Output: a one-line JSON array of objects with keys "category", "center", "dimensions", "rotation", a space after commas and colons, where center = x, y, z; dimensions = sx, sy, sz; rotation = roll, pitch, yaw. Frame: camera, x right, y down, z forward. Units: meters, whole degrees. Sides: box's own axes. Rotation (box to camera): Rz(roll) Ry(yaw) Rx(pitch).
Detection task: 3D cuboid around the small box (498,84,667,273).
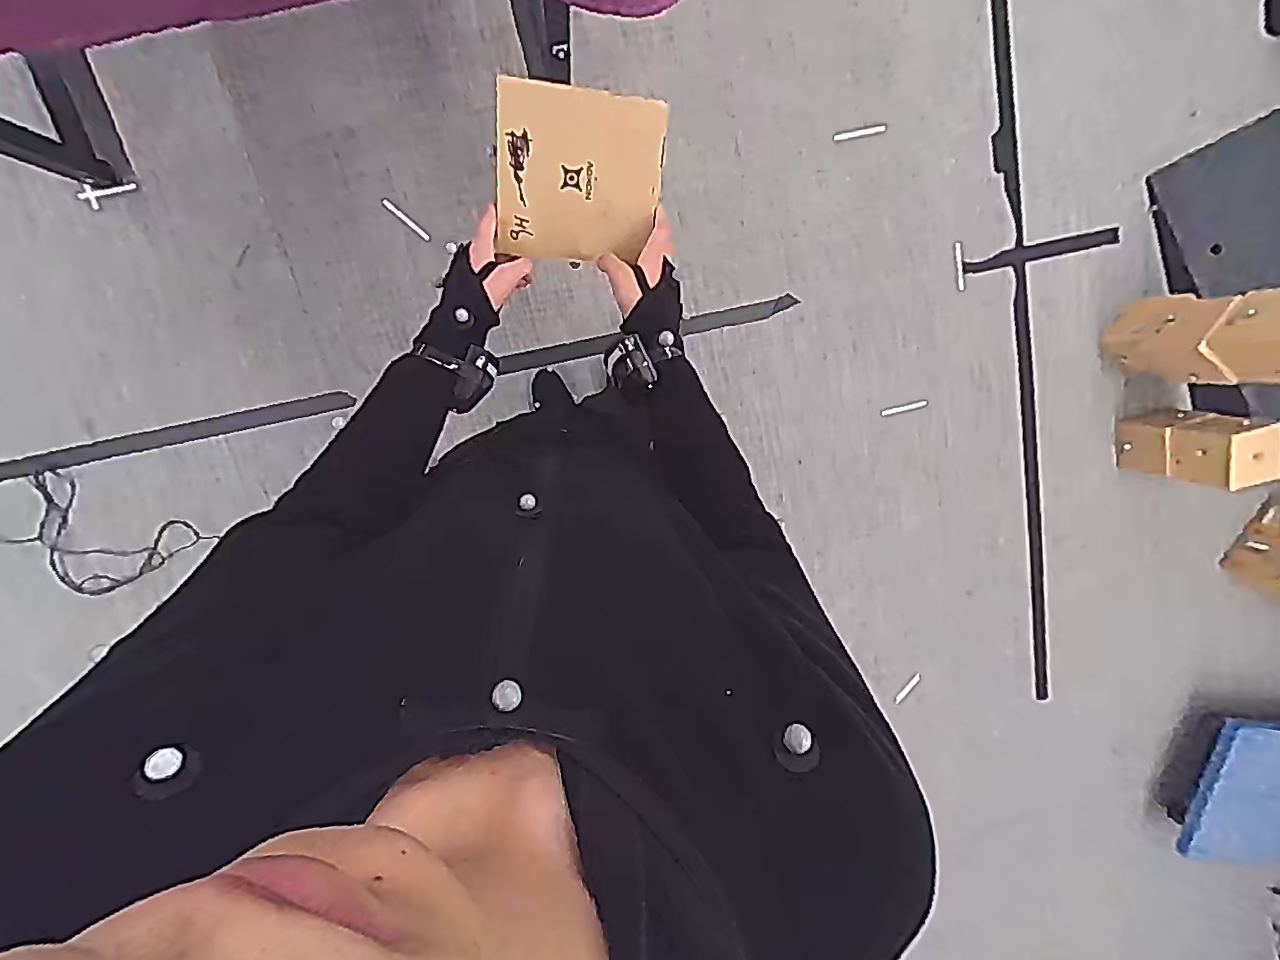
[{"category": "small box", "center": [-0.075, -0.360, 0.661], "dimensions": [0.179, 0.176, 0.168], "rotation": [3, 117, -9]}]
